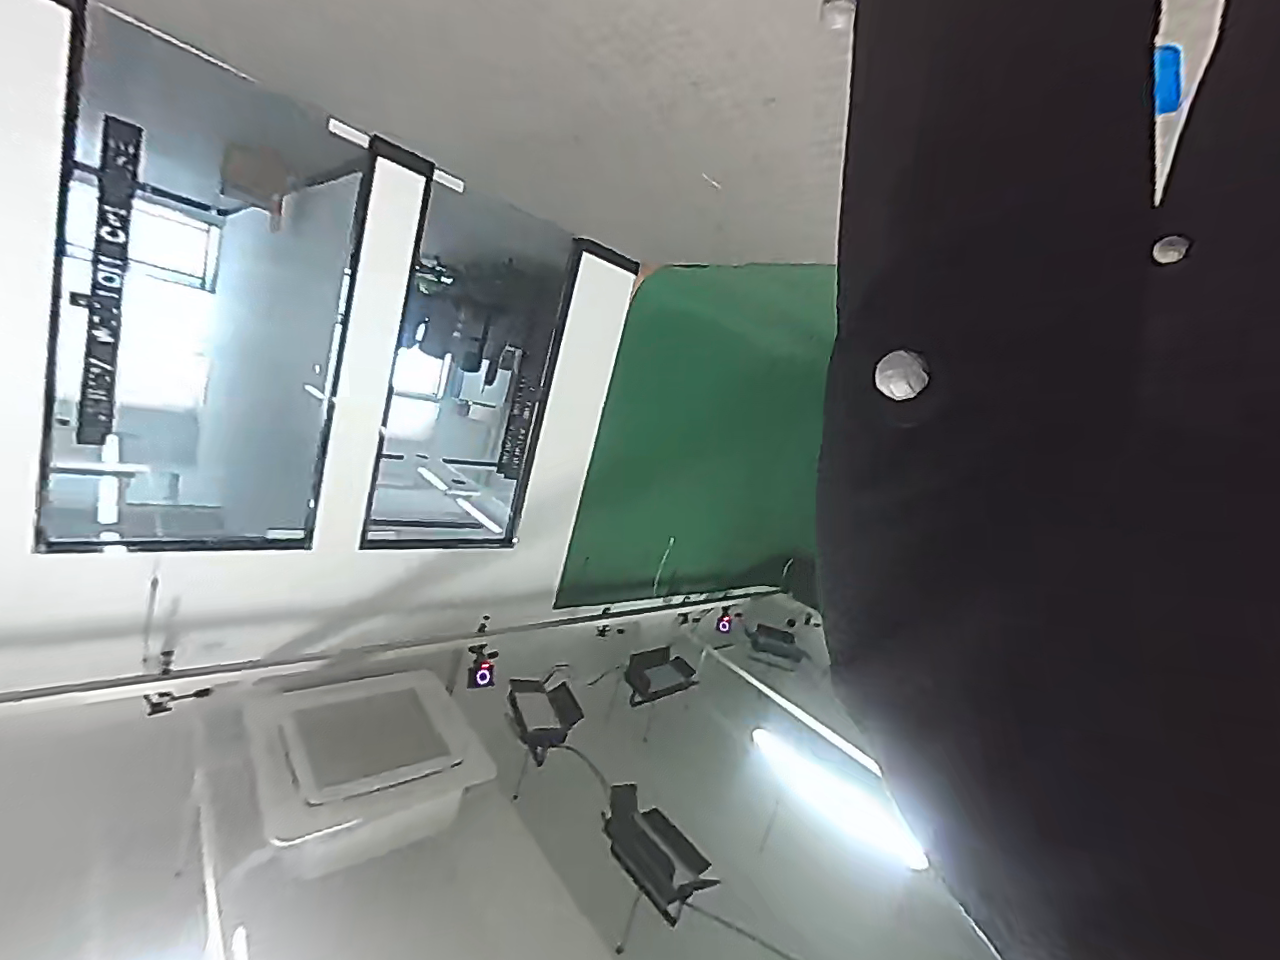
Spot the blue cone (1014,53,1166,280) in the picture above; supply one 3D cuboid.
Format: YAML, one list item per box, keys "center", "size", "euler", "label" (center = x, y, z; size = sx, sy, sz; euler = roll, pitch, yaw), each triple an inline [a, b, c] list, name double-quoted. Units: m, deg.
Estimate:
- center: [0.844, -0.592, 1.070]
  size: [0.193, 0.380, 0.192]
  euler: [7, -166, -45]
  label: "blue cone"
